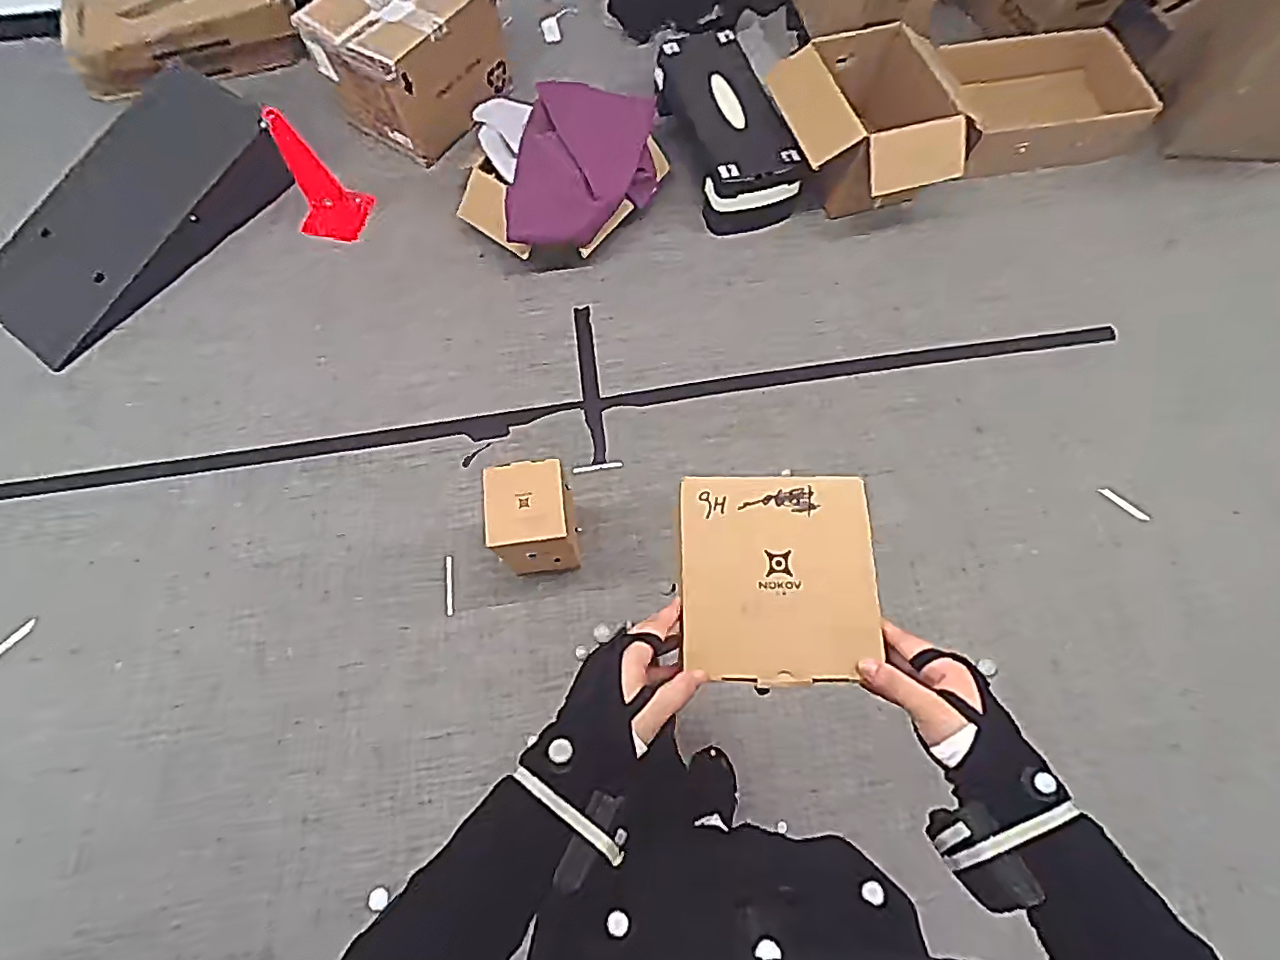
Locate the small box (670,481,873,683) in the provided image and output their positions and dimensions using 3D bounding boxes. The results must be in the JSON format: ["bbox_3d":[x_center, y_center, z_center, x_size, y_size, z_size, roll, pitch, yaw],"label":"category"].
[{"bbox_3d":[0.117,0.106,0.550,0.168,0.176,0.179,0,74,1],"label":"small box"}]

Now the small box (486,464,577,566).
[{"bbox_3d":[-0.238,0.083,1.205,0.168,0.176,0.179,-8,72,-2],"label":"small box"}]

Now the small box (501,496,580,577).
[{"bbox_3d":[-0.245,0.143,1.356,0.179,0.176,0.168,-7,70,-2],"label":"small box"}]
